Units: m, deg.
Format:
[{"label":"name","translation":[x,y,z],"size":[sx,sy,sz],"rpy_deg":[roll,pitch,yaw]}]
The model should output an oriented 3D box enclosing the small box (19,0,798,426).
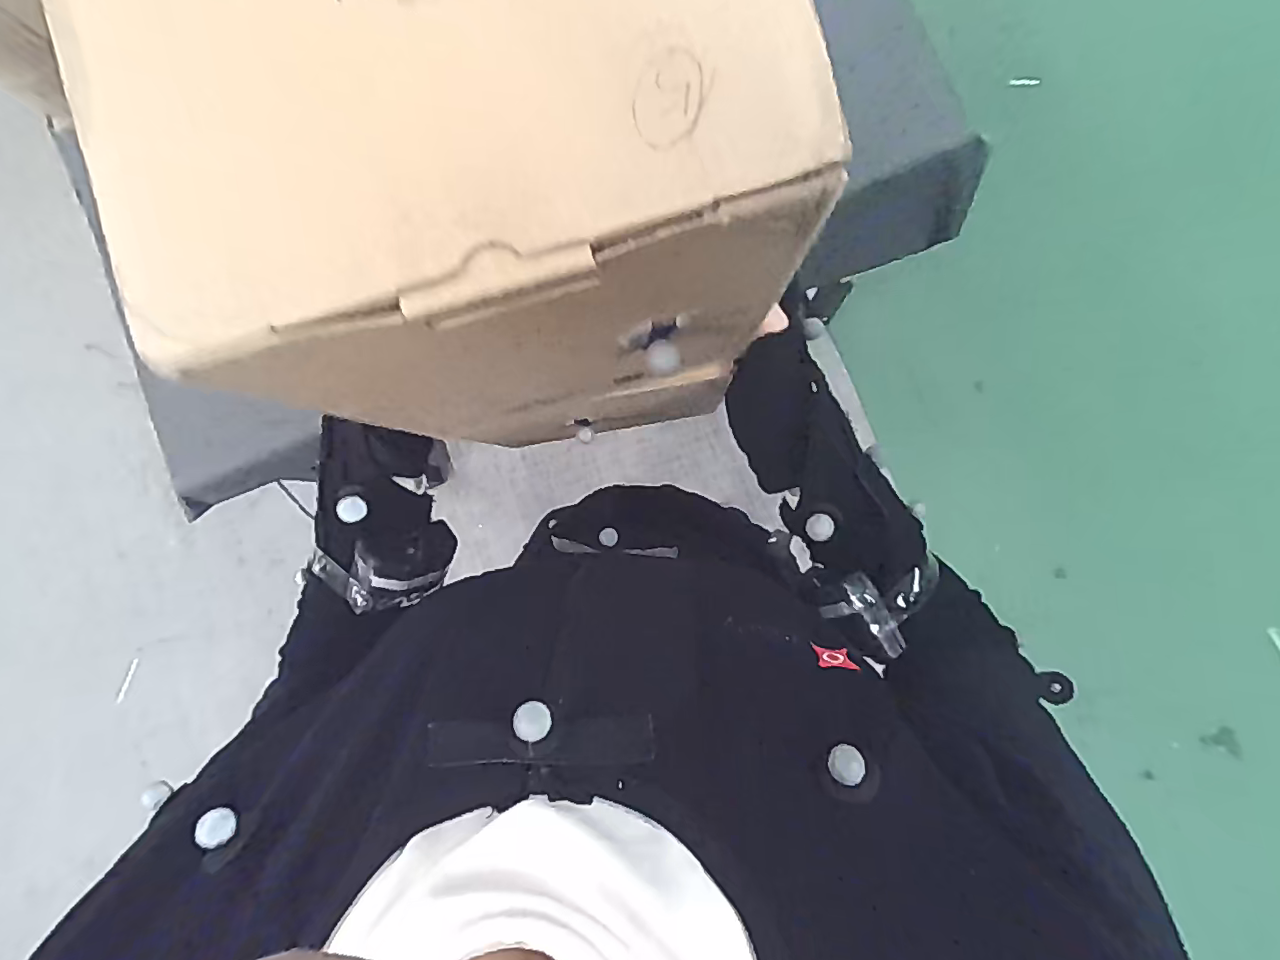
[{"label":"small box","translation":[-0.059,-0.124,0.204],"size":[0.168,0.176,0.179],"rpy_deg":[-15,88,1]}]
